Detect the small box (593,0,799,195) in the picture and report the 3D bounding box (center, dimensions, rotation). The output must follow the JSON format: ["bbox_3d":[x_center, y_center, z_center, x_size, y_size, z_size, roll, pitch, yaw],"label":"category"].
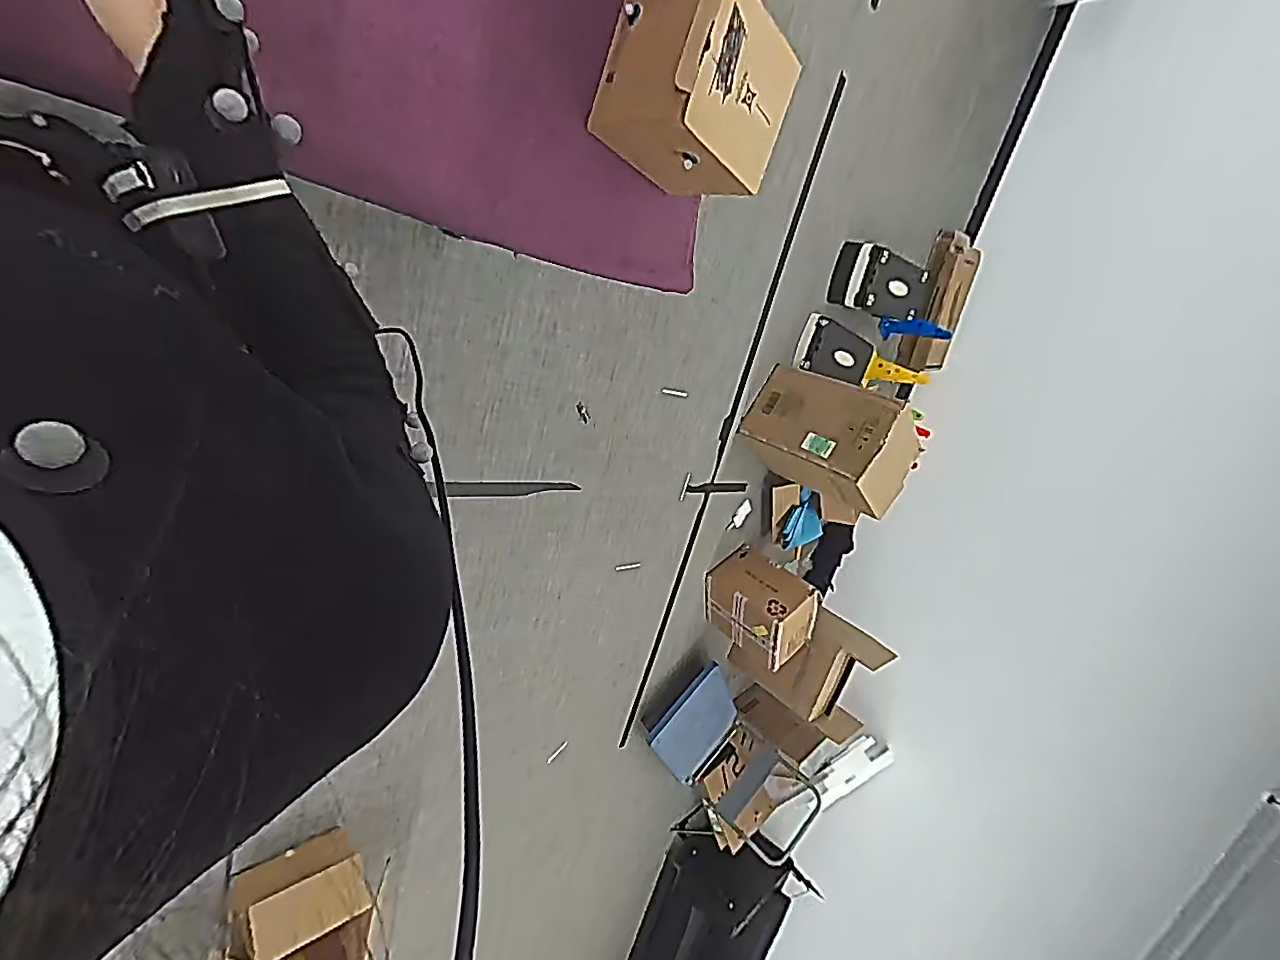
[{"bbox_3d":[0.068,-0.490,0.696,0.179,0.176,0.168,7,106,-50],"label":"small box"}]
